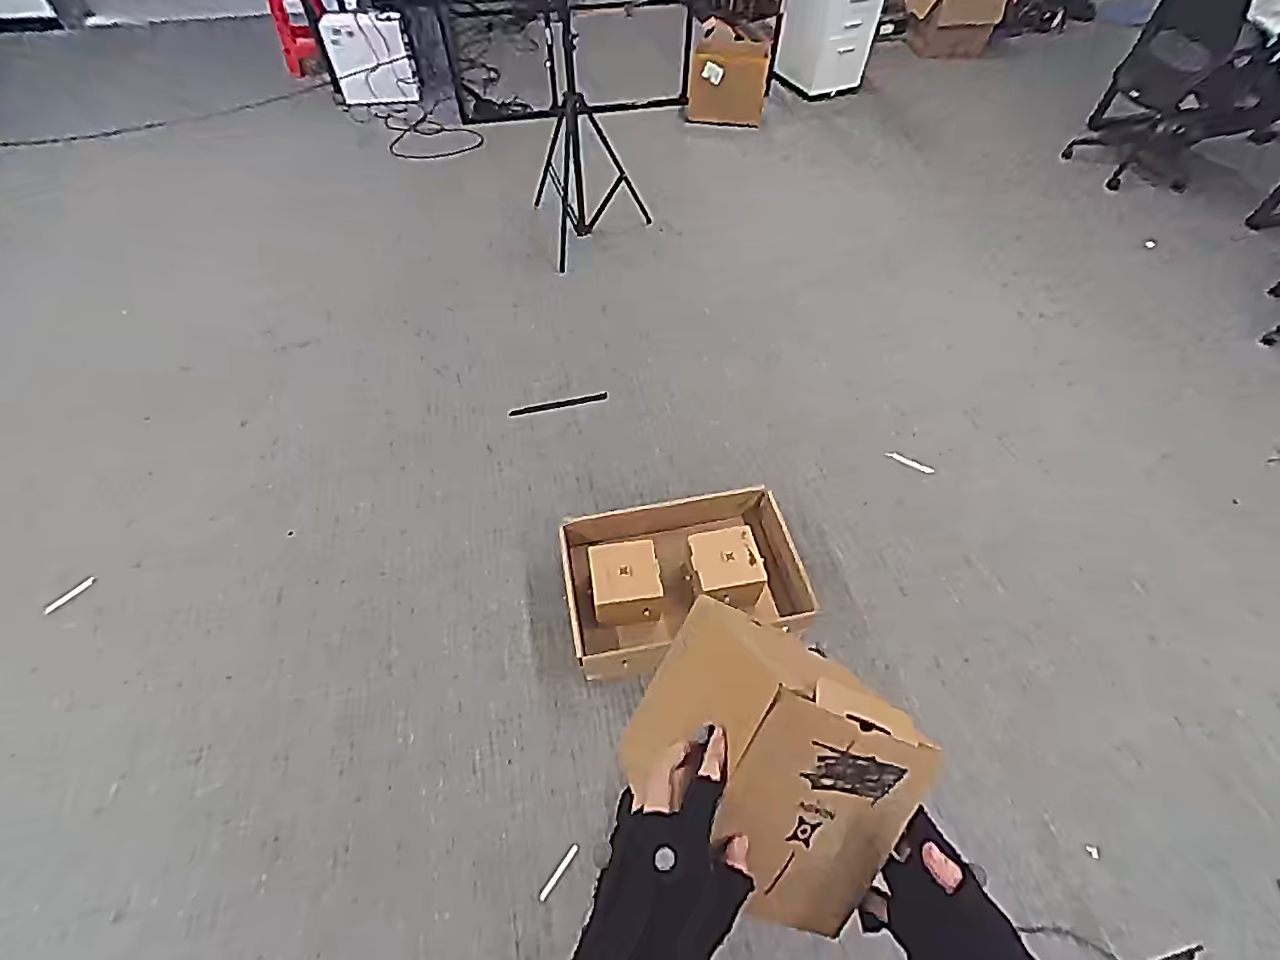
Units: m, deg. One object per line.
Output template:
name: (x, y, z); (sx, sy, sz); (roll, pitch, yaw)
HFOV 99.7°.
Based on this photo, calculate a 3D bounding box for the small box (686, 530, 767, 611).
small box: (0.227, 0.260, 1.476); (0.179, 0.176, 0.168); (-10, 56, -5)

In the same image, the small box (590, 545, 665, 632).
small box: (-0.037, 0.293, 1.448); (0.179, 0.176, 0.168); (-7, 54, -6)

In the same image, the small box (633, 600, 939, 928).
small box: (0.110, 0.233, 0.482); (0.168, 0.176, 0.179); (27, 93, -16)
